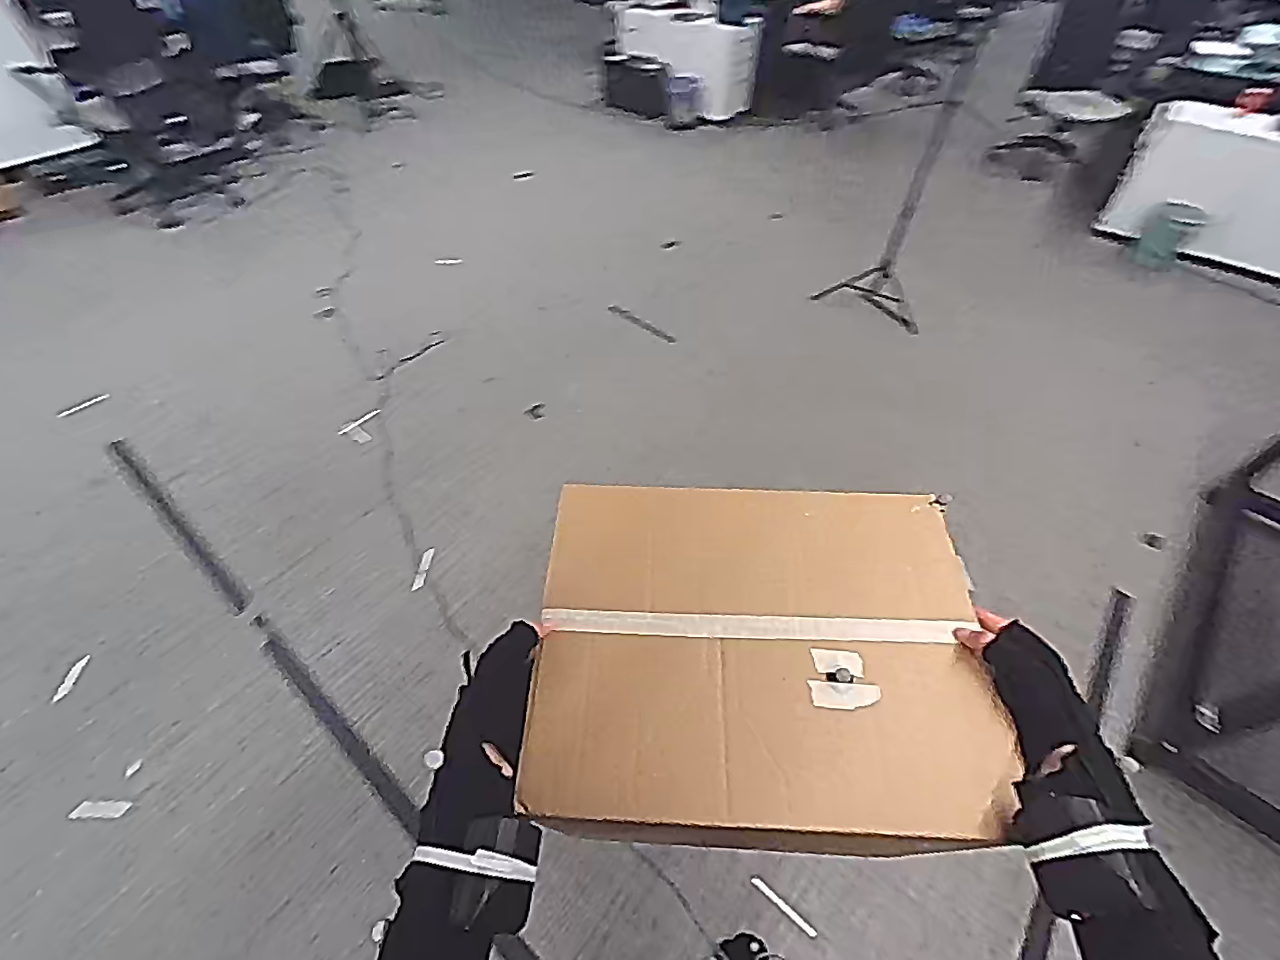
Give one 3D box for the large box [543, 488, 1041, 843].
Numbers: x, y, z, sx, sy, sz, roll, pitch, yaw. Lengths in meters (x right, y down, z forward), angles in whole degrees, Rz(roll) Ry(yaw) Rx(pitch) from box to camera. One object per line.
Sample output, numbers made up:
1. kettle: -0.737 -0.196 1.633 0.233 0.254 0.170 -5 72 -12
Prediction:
1. large box: 0.123 0.226 0.633 0.408 0.320 0.320 2 55 2
